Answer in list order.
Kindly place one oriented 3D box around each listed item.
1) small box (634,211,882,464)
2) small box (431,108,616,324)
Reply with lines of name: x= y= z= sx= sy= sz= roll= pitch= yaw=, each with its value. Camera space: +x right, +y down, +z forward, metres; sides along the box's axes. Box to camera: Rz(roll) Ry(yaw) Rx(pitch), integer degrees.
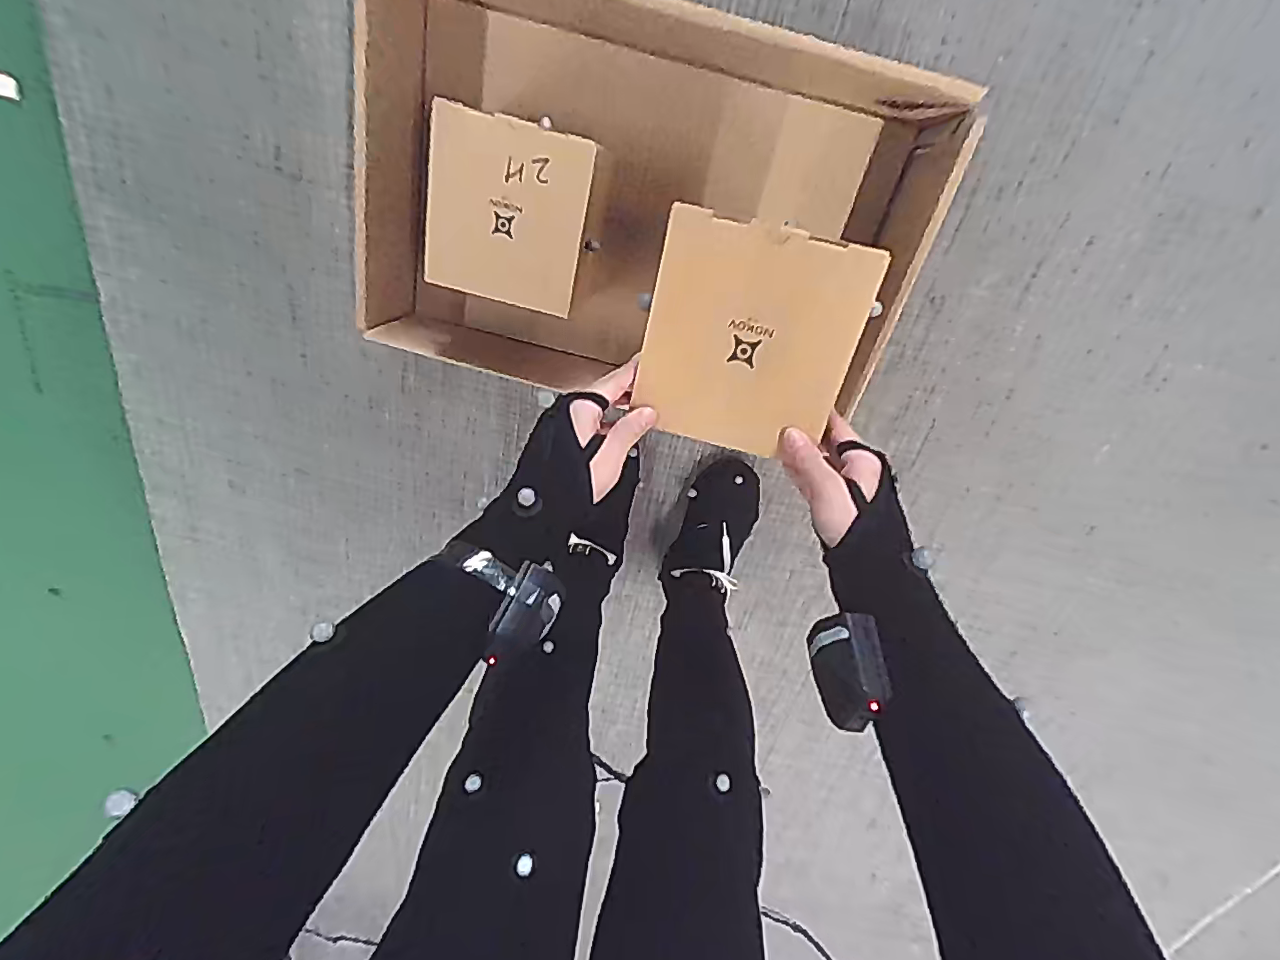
small box: x=0.104 y=-0.141 z=0.522 sx=0.168 sy=0.176 sz=0.179 roll=16 pitch=114 yaw=4
small box: x=-0.130 y=-0.307 z=0.643 sx=0.168 sy=0.176 sz=0.179 roll=14 pitch=117 yaw=-3
